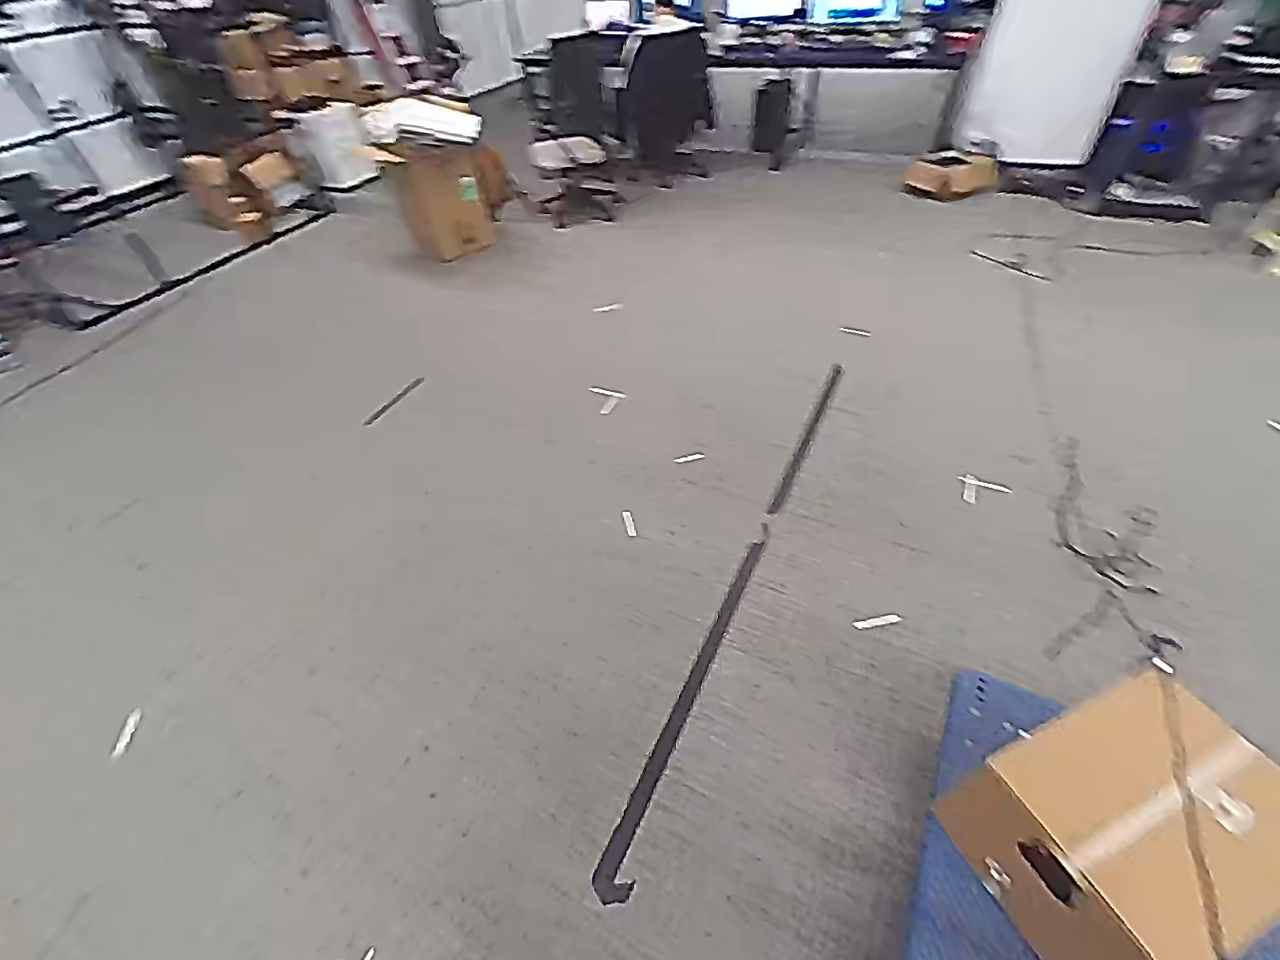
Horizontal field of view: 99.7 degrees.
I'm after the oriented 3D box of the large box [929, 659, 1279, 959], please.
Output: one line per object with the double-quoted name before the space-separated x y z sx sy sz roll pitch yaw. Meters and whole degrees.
"large box" 0.819 0.600 0.960 0.408 0.320 0.320 -21 49 -15
